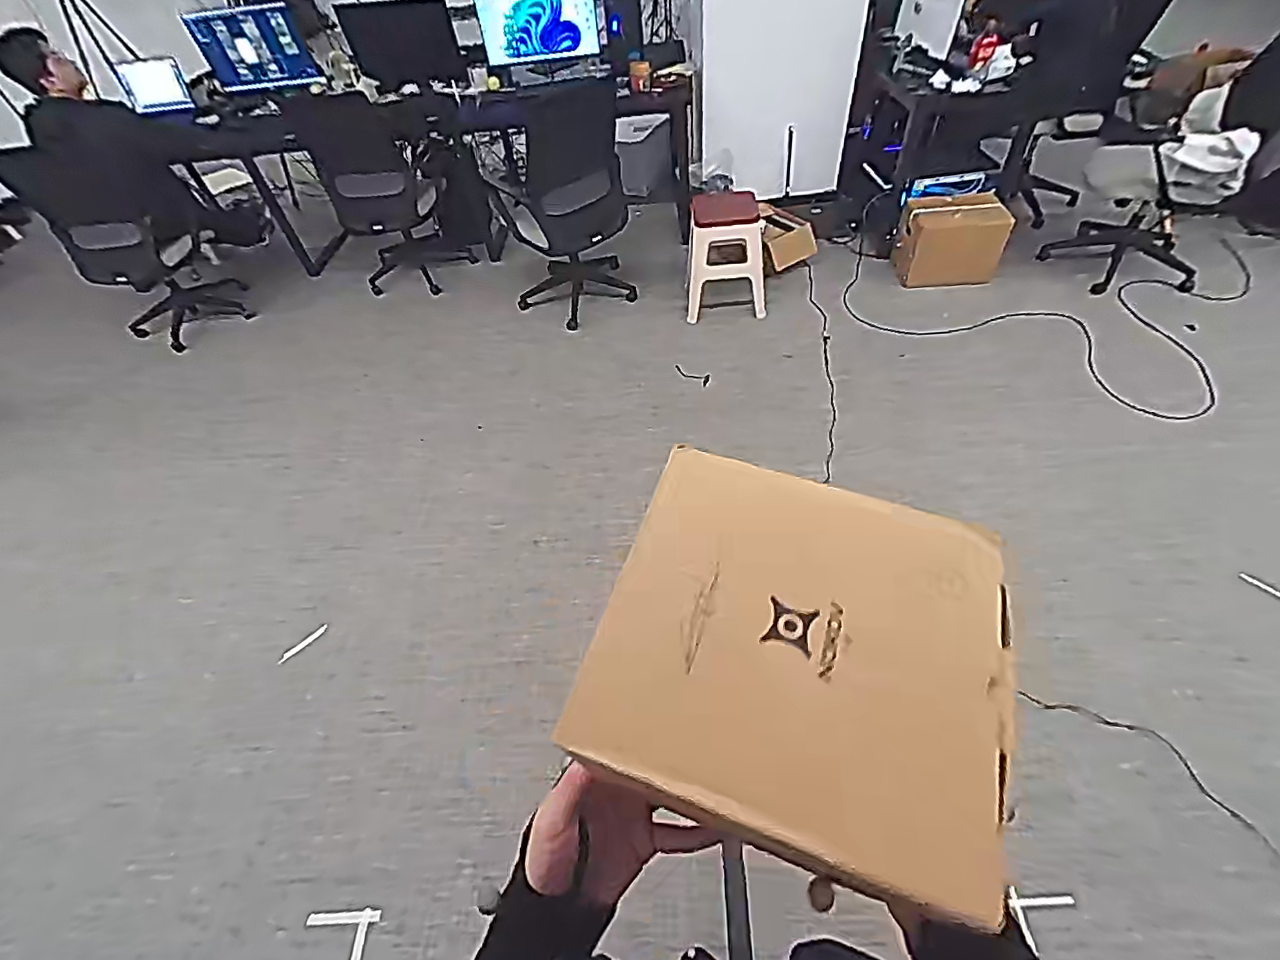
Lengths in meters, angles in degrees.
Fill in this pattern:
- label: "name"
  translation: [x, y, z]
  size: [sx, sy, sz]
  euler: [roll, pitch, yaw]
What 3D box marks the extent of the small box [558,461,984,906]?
- label: "small box"
  translation: [0.074, 0.119, 0.326]
  size: [0.179, 0.176, 0.168]
  euler: [15, 56, 13]
